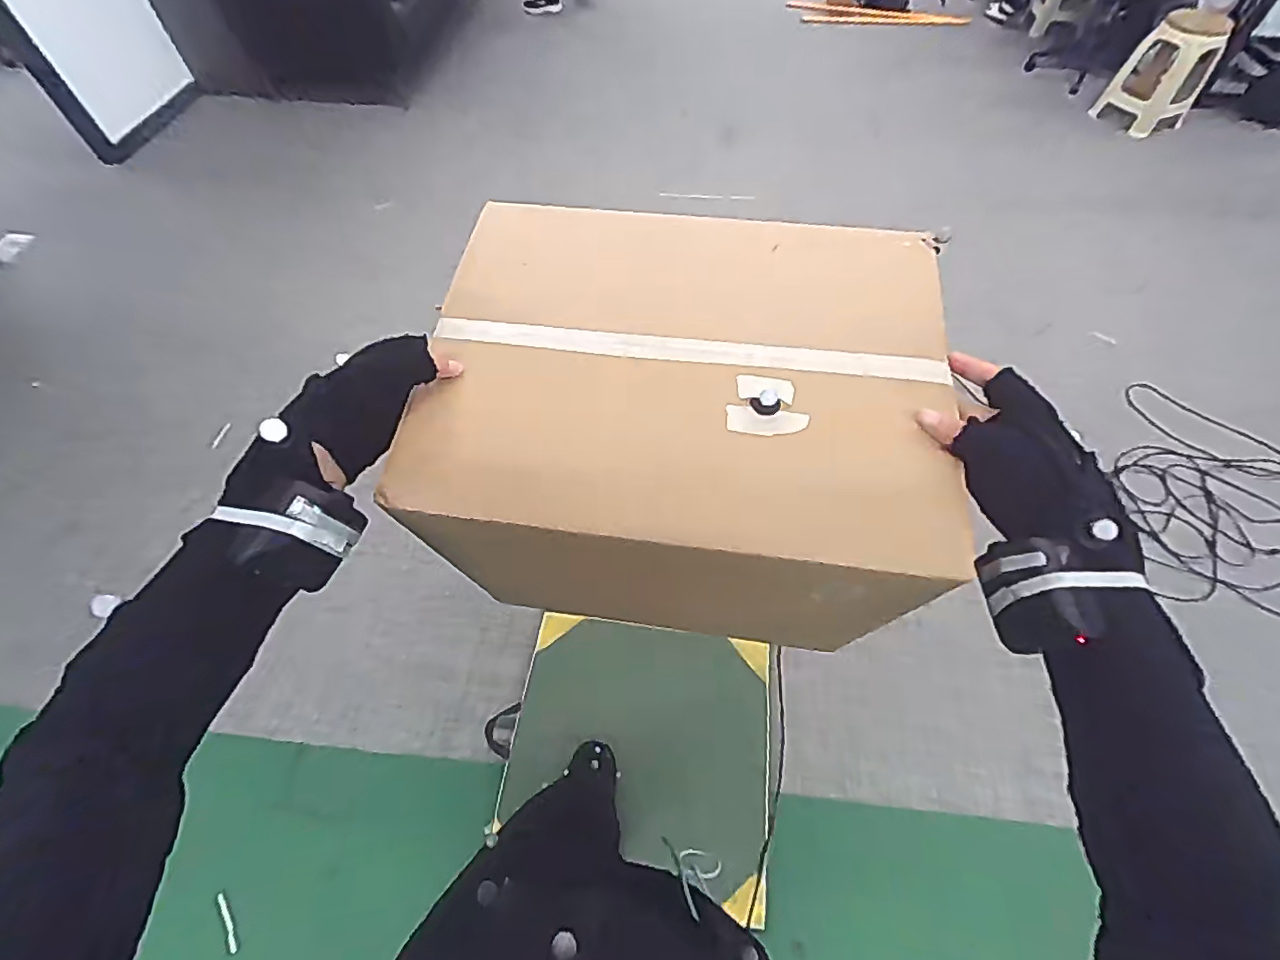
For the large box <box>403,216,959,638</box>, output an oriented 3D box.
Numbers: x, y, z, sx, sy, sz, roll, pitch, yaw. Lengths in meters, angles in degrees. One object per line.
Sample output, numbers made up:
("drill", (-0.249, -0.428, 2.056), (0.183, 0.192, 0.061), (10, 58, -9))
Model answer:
("large box", (0.041, -0.035, 0.577), (0.408, 0.320, 0.320), (7, 65, 5))
